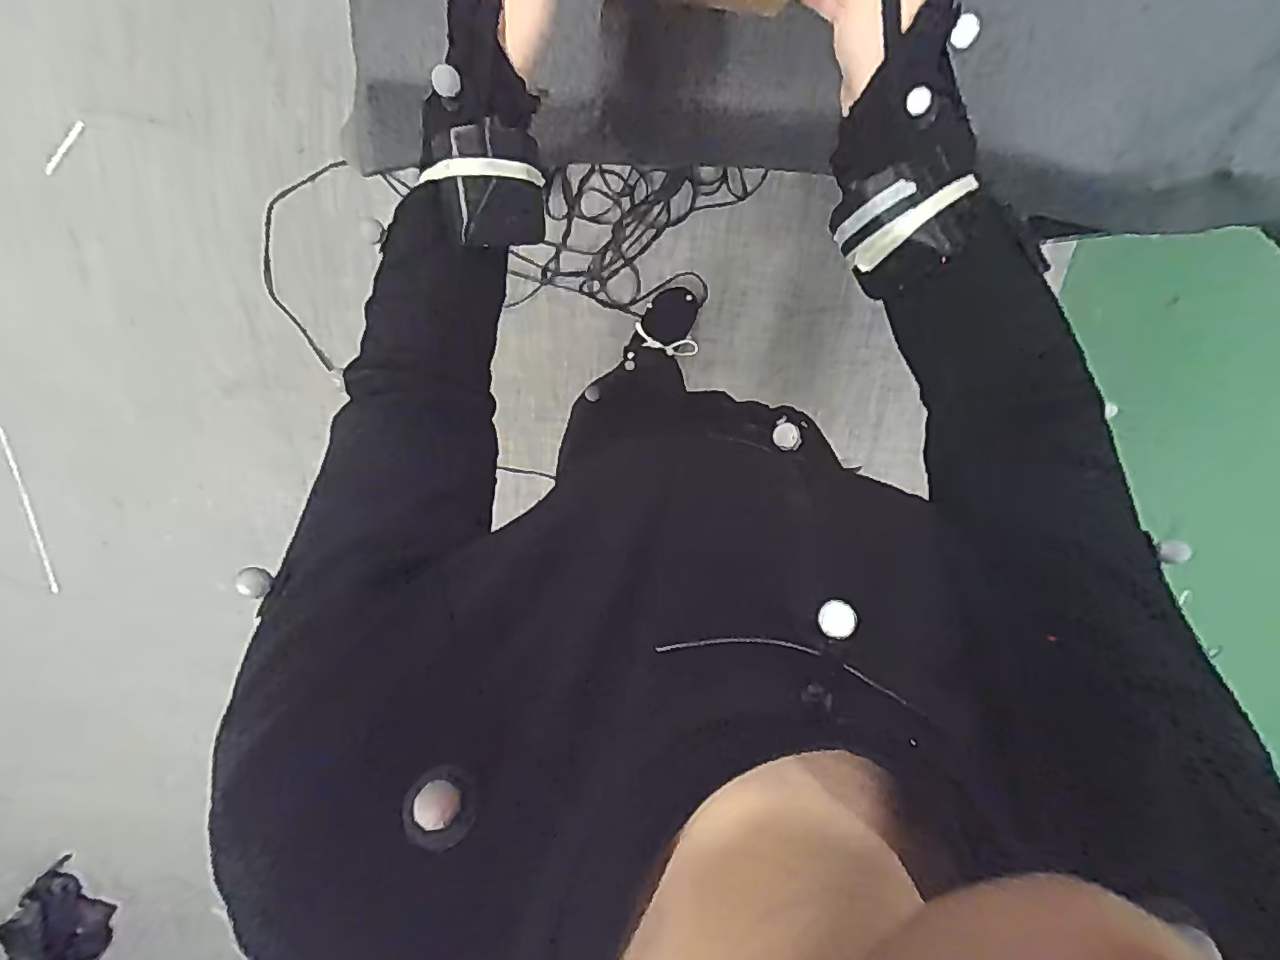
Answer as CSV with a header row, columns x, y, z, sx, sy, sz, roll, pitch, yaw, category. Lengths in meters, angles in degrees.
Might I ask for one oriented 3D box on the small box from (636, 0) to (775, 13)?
x,y,z,sx,sy,sz,roll,pitch,yaw,category
0.039,-0.429,0.342,0.179,0.176,0.168,2,118,-4,small box
